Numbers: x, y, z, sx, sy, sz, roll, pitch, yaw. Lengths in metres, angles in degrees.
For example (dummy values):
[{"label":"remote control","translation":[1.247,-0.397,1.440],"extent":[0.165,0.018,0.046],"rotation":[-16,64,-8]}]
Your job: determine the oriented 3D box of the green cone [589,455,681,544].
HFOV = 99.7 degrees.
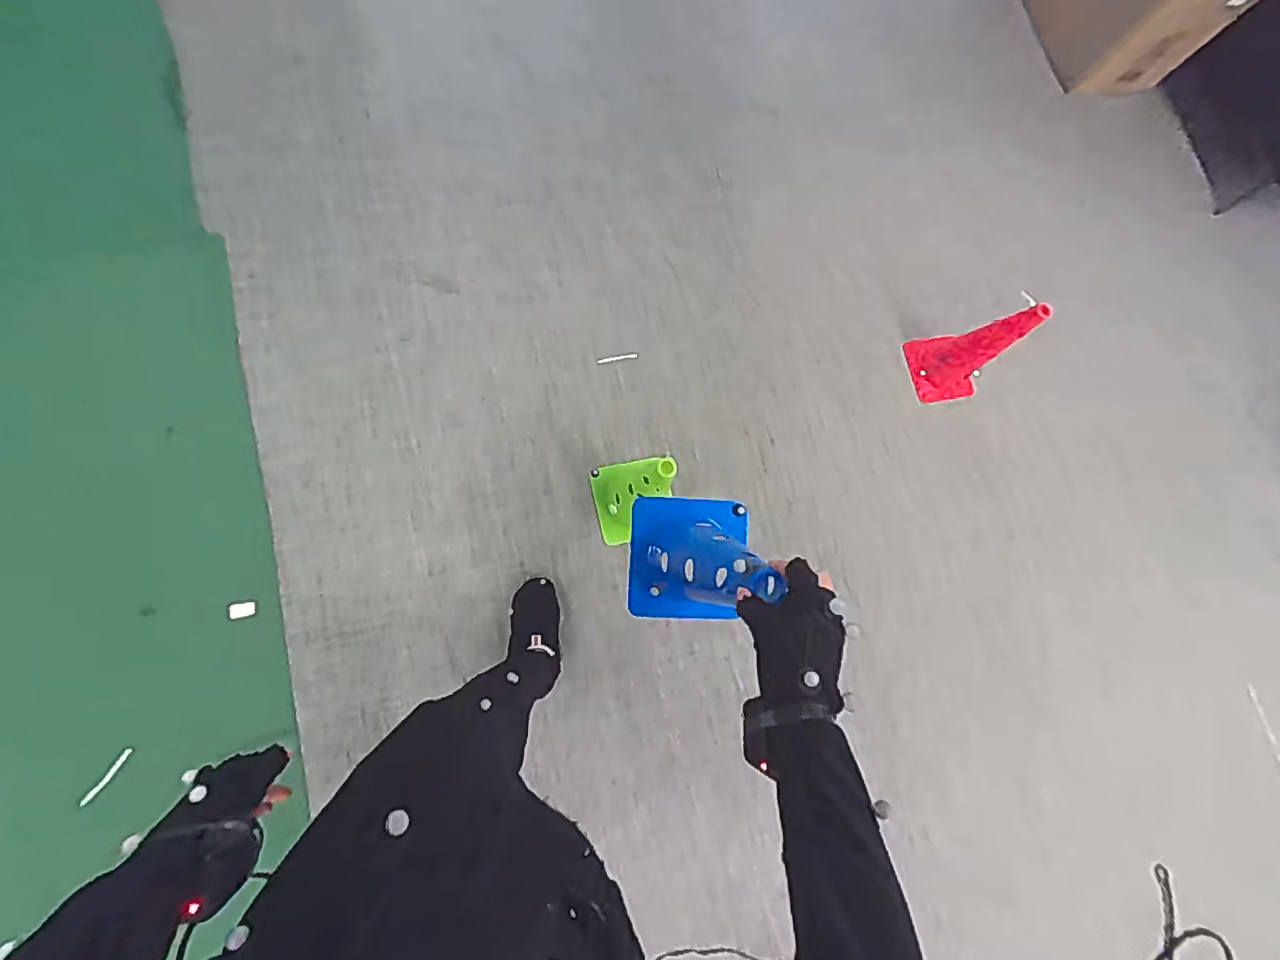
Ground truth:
[{"label":"green cone","translation":[0.020,0.014,1.195],"extent":[0.202,0.368,0.200],"rotation":[-13,81,-14]}]
